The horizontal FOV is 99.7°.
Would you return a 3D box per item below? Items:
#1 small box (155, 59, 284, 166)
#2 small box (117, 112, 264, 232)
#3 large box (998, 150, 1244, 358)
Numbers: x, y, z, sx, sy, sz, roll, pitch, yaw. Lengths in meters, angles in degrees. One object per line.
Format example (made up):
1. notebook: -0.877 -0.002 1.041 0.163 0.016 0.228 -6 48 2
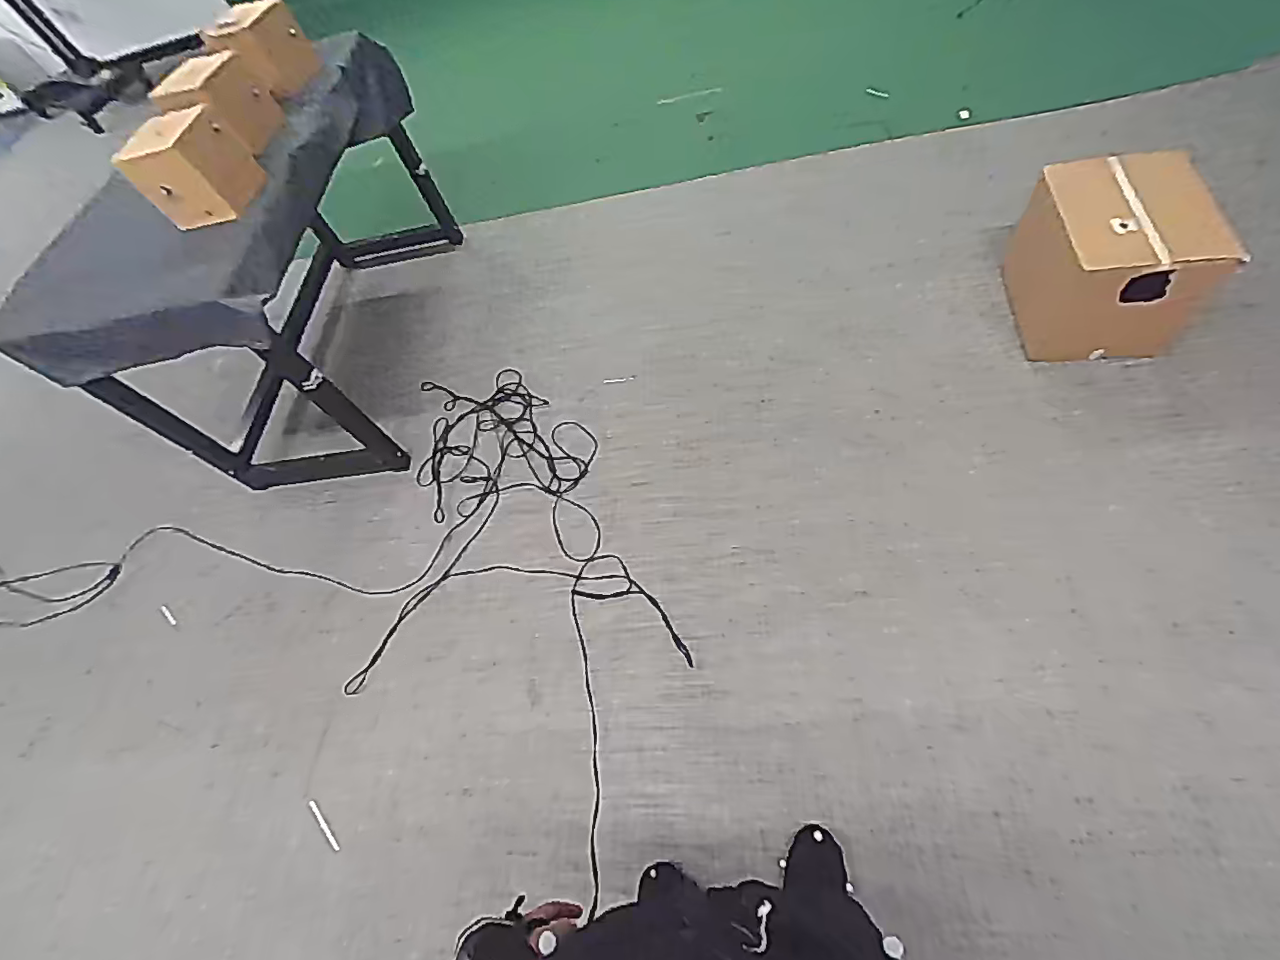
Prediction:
1. small box: -1.070 -0.938 1.395 0.168 0.176 0.179 2 62 16
2. small box: -1.013 -0.693 1.238 0.168 0.176 0.179 -6 59 12
3. large box: 1.202 -0.579 1.417 0.320 0.320 0.408 -1 62 13
